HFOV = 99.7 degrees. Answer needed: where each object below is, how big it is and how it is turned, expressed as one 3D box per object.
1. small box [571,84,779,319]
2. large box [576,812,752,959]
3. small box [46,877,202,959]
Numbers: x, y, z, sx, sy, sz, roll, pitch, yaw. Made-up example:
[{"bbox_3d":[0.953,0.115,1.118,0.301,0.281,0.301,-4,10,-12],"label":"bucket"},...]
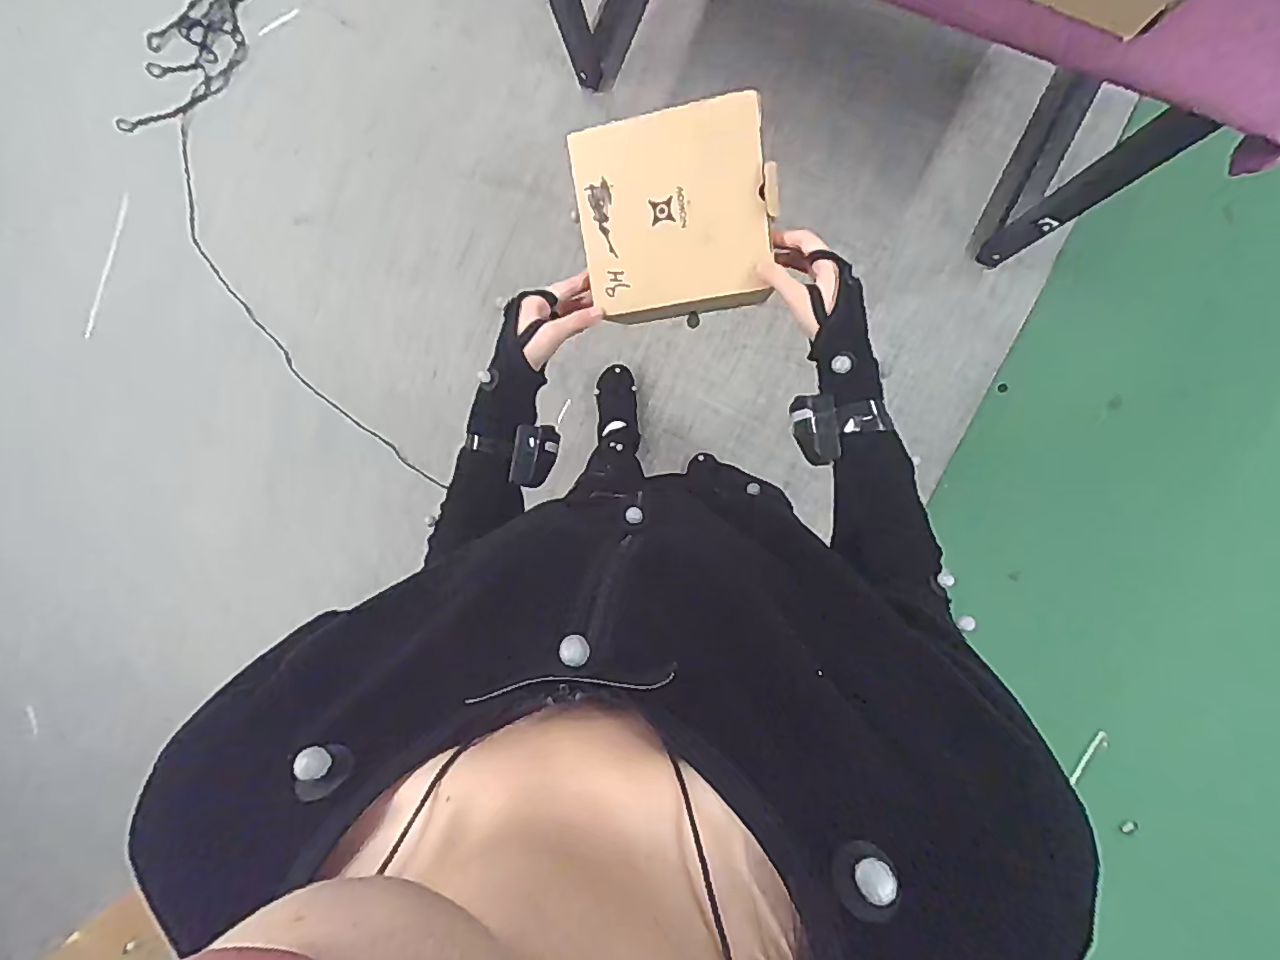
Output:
[{"bbox_3d":[0.043,-0.269,0.567,0.179,0.176,0.168,-6,101,11],"label":"small box"},{"bbox_3d":[0.058,1.166,1.445,0.408,0.320,0.320,11,96,5],"label":"large box"},{"bbox_3d":[-1.123,1.016,1.176,0.179,0.176,0.168,45,100,2],"label":"small box"}]
